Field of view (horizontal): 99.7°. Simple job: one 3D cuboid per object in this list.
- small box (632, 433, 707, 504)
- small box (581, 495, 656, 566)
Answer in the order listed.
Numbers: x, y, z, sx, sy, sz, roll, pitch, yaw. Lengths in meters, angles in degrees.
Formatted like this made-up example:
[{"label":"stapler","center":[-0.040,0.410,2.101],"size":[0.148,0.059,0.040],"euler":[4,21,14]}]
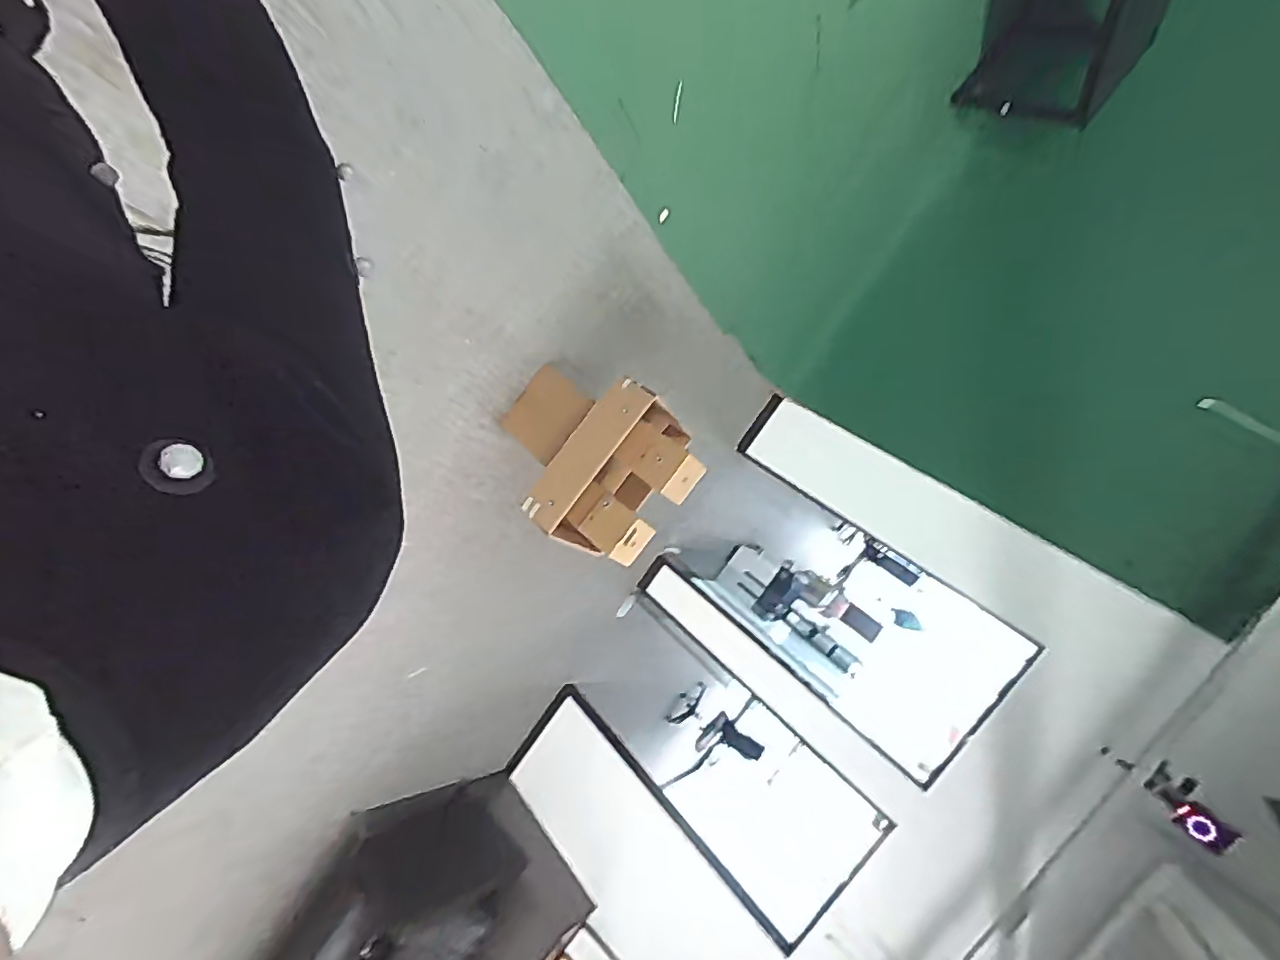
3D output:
[{"label":"small box","center":[0.101,-0.044,1.921],"size":[0.168,0.176,0.179],"euler":[-52,148,3]},{"label":"small box","center":[-0.079,0.175,1.919],"size":[0.168,0.176,0.179],"euler":[-51,150,-1]}]
